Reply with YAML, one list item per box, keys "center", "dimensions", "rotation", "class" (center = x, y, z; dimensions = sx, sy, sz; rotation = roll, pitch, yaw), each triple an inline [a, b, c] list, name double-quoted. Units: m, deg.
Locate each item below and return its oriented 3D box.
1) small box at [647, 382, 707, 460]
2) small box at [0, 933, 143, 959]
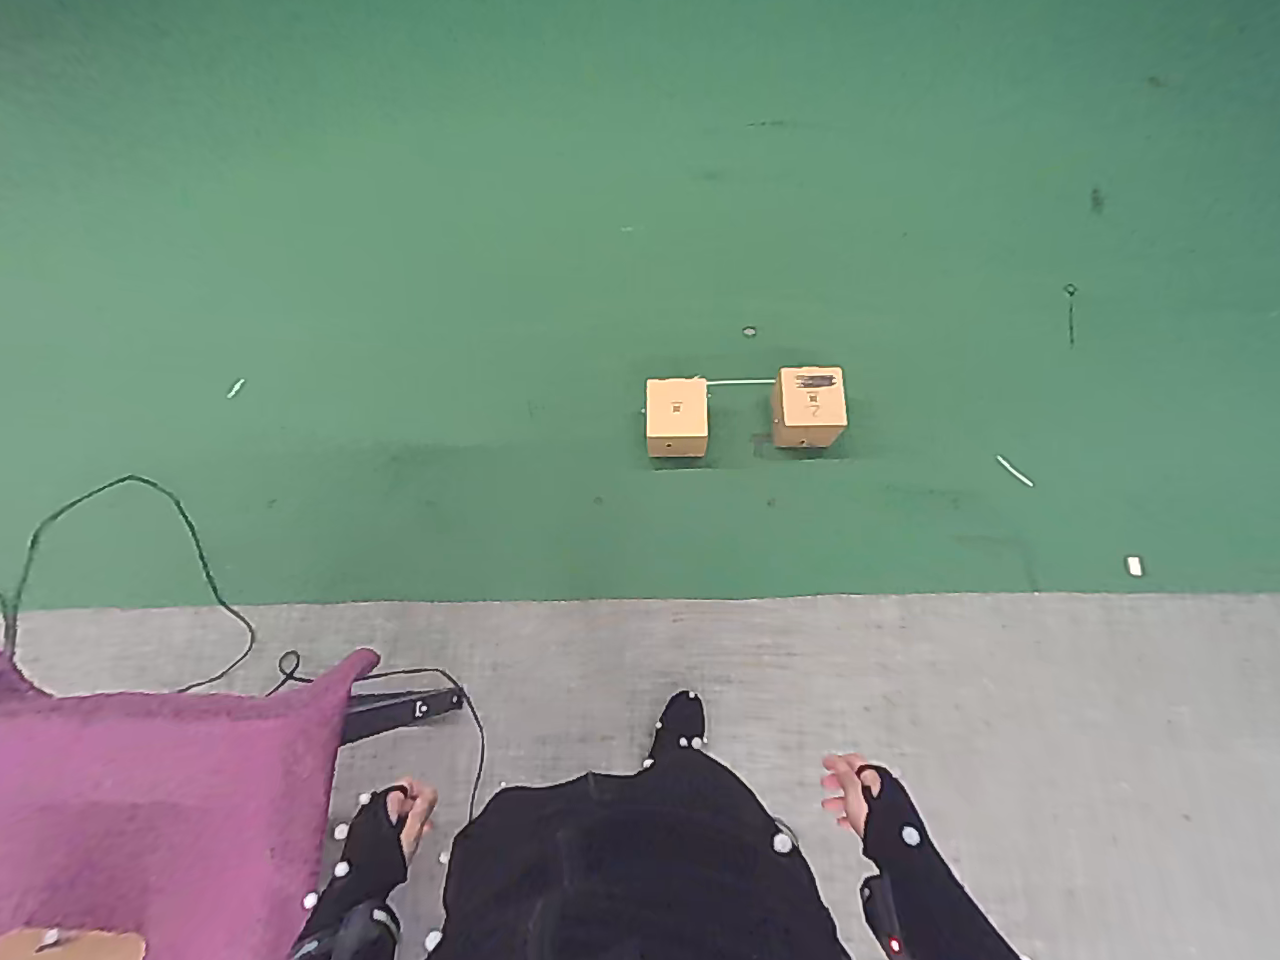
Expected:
- center: [0.107, -0.162, 1.547]
  dimensions: [0.168, 0.176, 0.179]
  rotation: [-1, 72, 3]
  class: "small box"
- center: [-0.709, 0.625, 0.580]
  dimensions: [0.179, 0.176, 0.168]
  rotation: [0, 73, 4]
  class: "small box"
